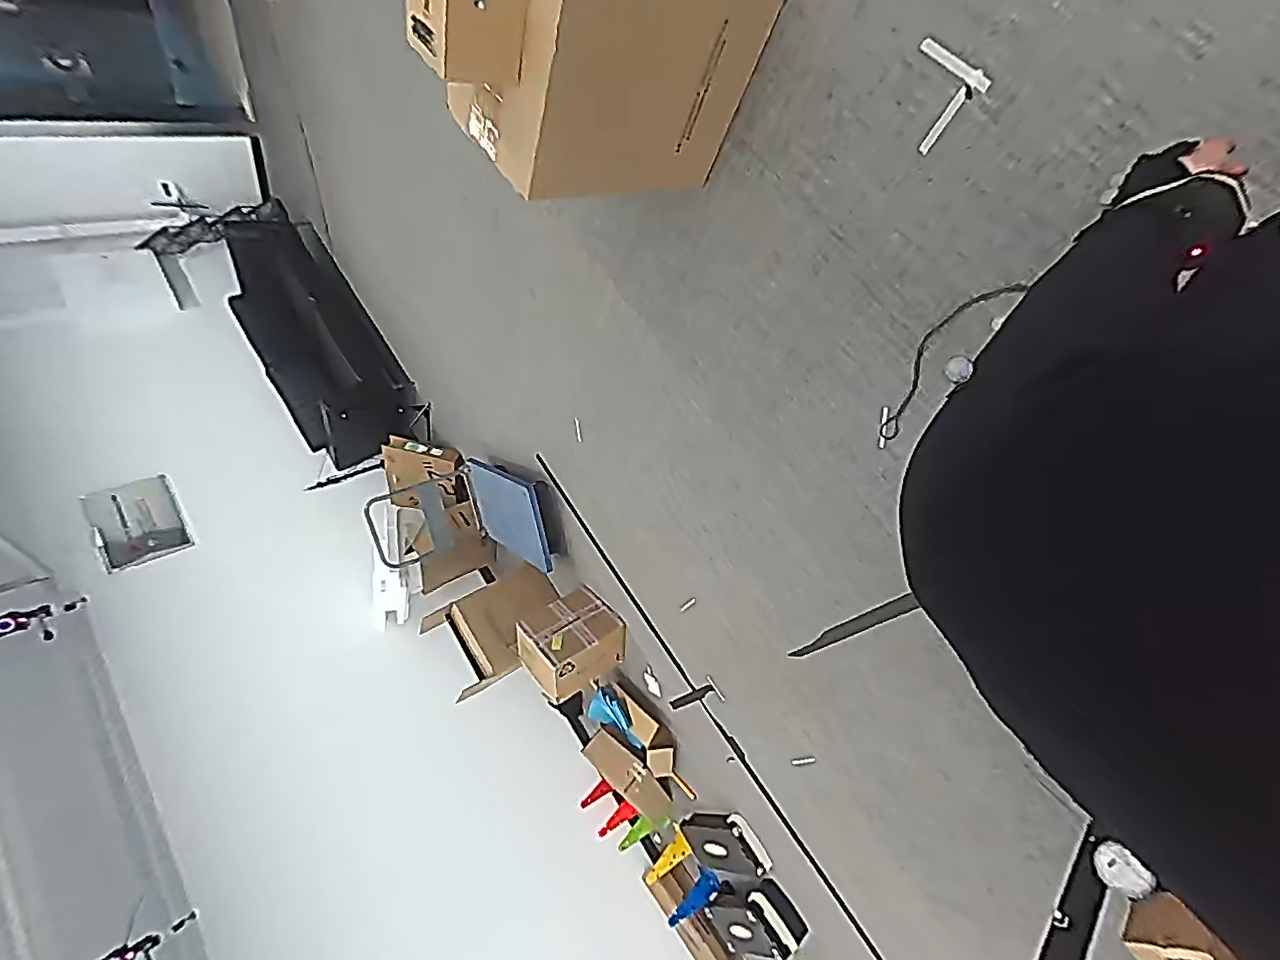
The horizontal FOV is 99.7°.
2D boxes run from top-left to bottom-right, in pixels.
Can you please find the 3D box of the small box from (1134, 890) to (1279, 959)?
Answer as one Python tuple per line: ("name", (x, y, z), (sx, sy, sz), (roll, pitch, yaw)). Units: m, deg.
("small box", (1.197, 1.000, 1.125), (0.179, 0.176, 0.168), (54, 144, 15))
